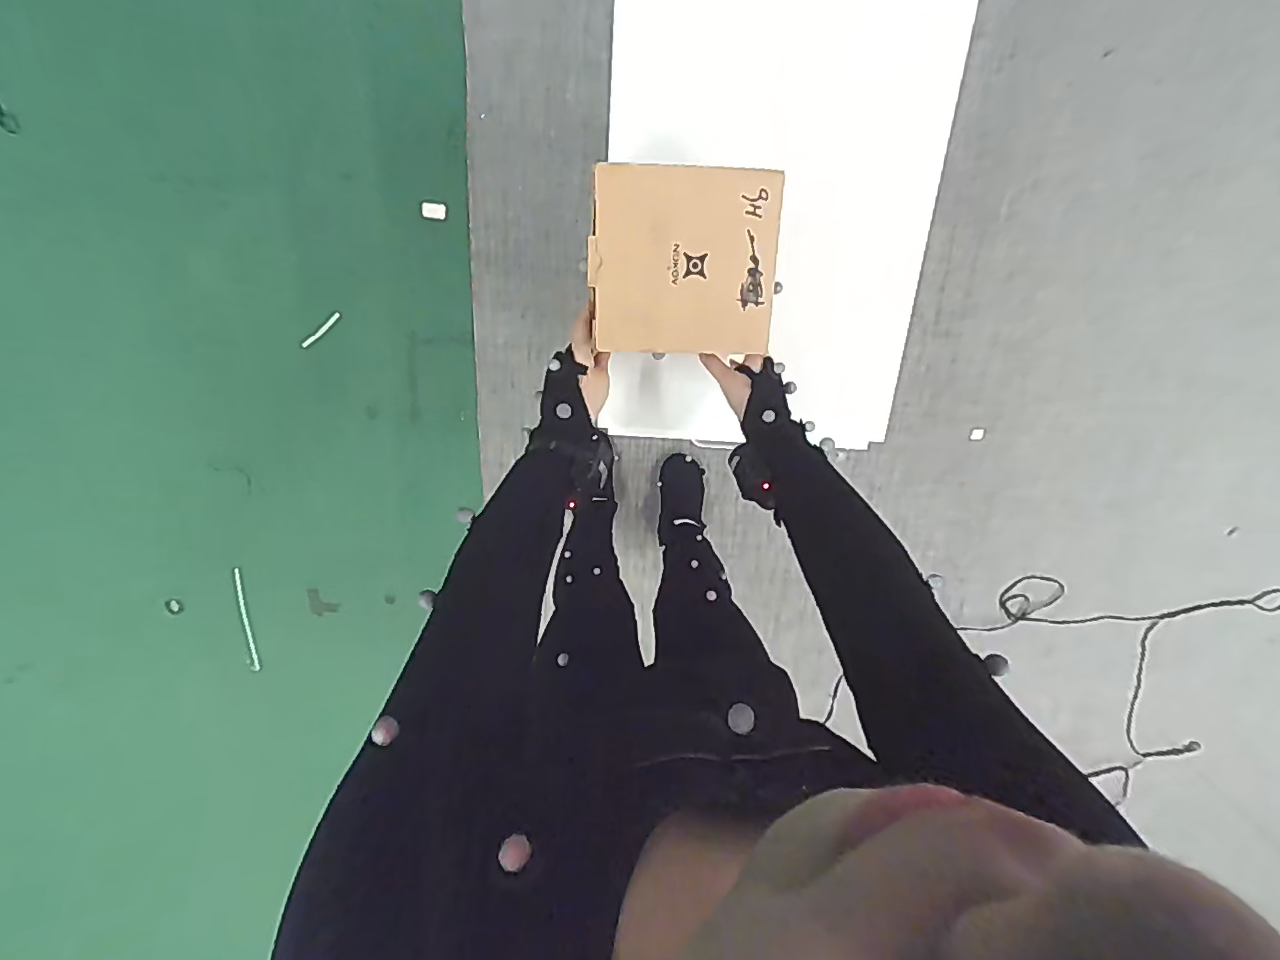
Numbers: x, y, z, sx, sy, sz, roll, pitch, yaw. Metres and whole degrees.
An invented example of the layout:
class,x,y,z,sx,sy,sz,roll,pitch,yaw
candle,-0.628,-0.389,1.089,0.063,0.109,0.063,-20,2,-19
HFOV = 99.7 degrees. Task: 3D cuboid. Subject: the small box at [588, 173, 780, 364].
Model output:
class,x,y,z,sx,sy,sz,roll,pitch,yaw
small box,0.035,-0.220,0.589,0.179,0.176,0.168,1,108,-4
